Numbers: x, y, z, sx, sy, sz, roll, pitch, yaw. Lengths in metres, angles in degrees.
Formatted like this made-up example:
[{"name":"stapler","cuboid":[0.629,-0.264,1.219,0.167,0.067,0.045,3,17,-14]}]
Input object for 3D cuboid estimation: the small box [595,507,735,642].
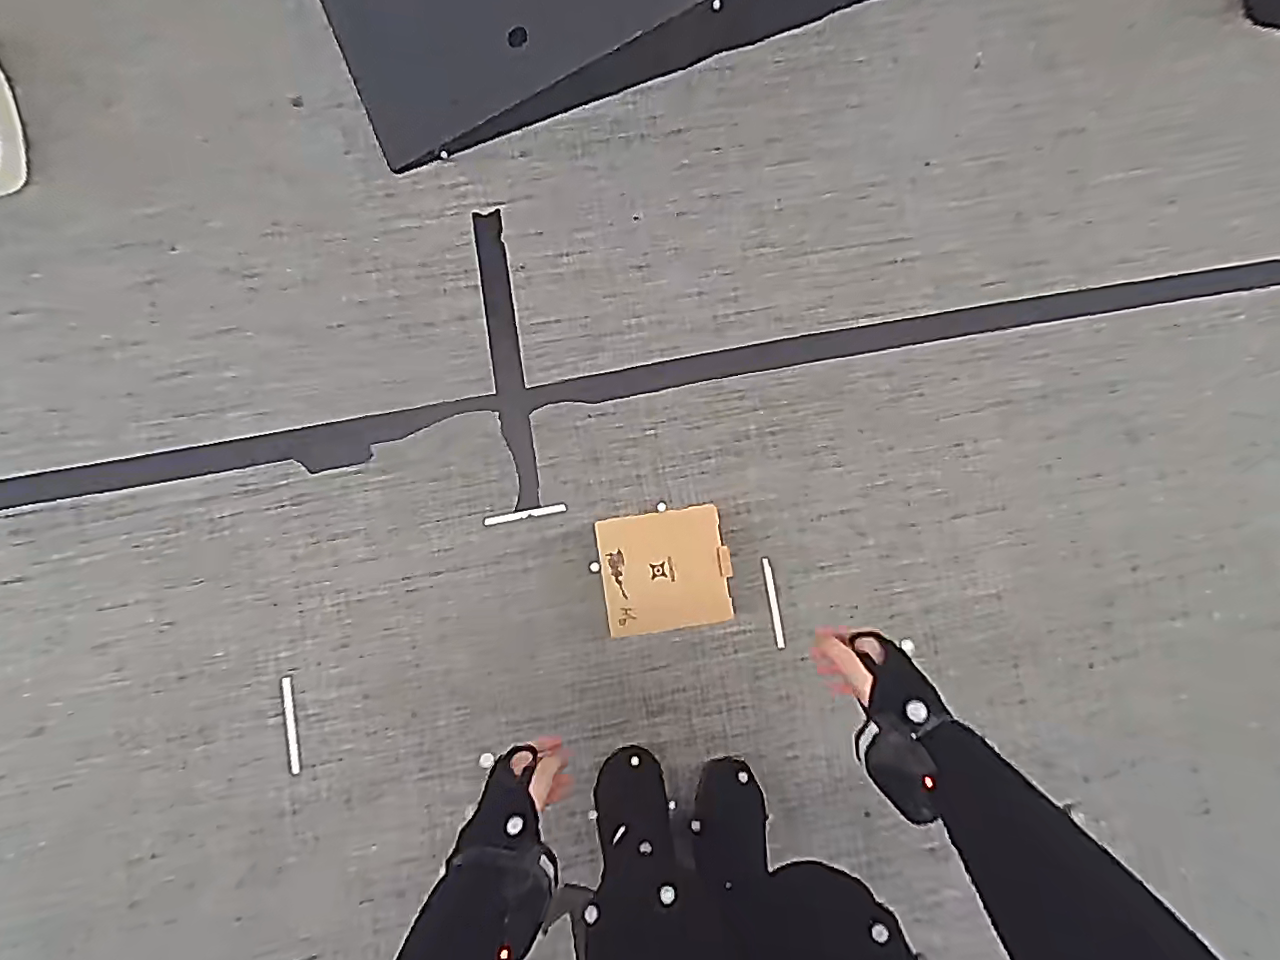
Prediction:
[{"name":"small box","cuboid":[0.027,0.132,0.811,0.179,0.176,0.168,-8,86,-4]}]
